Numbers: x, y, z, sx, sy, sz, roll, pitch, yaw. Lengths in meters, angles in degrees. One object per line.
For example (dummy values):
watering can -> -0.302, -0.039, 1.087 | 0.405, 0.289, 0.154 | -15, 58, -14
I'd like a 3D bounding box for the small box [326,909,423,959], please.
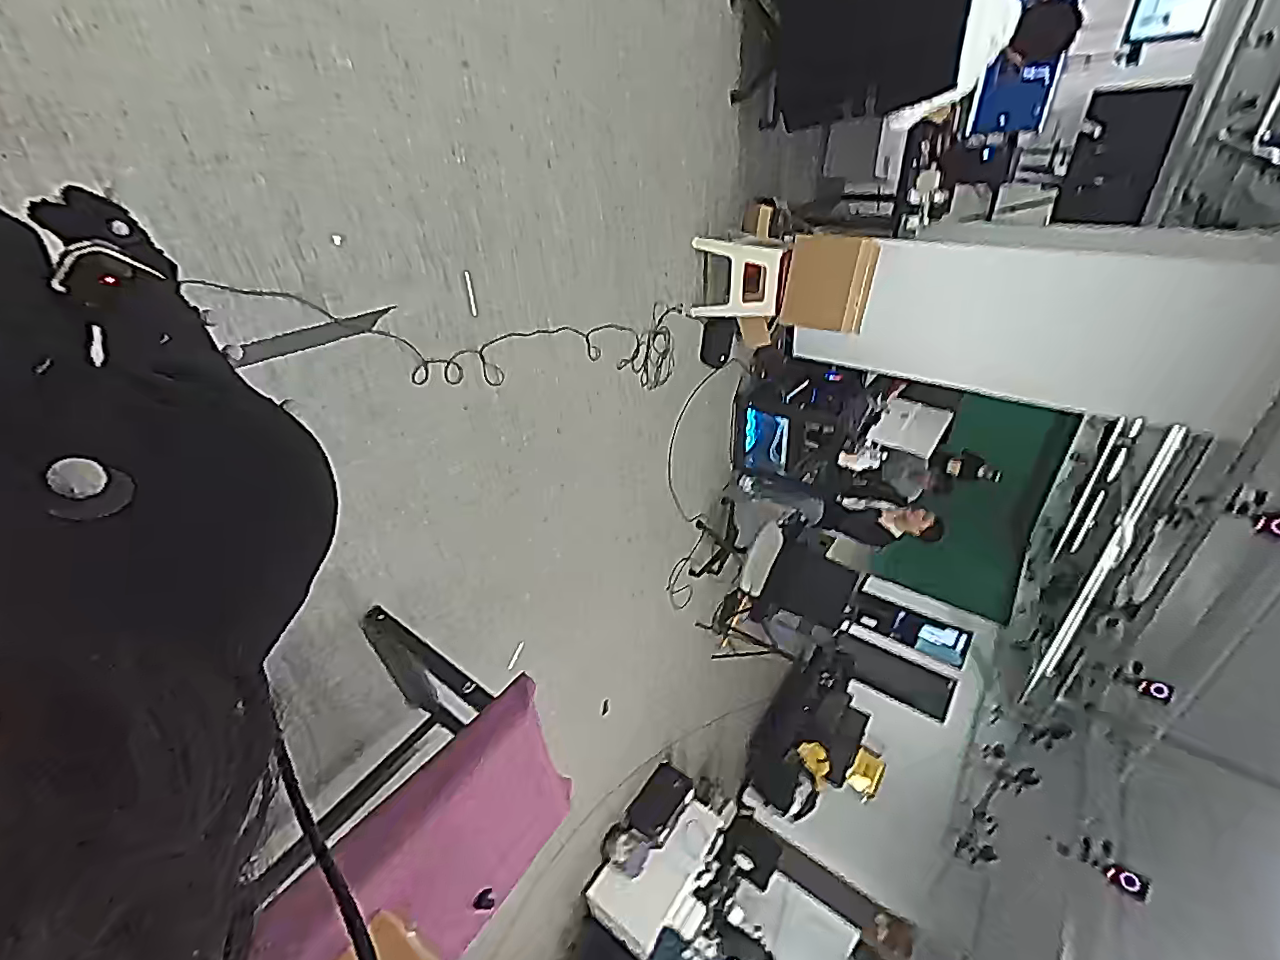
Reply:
small box -> -0.572, 1.073, 1.145 | 0.179, 0.176, 0.168 | -45, 143, -36
